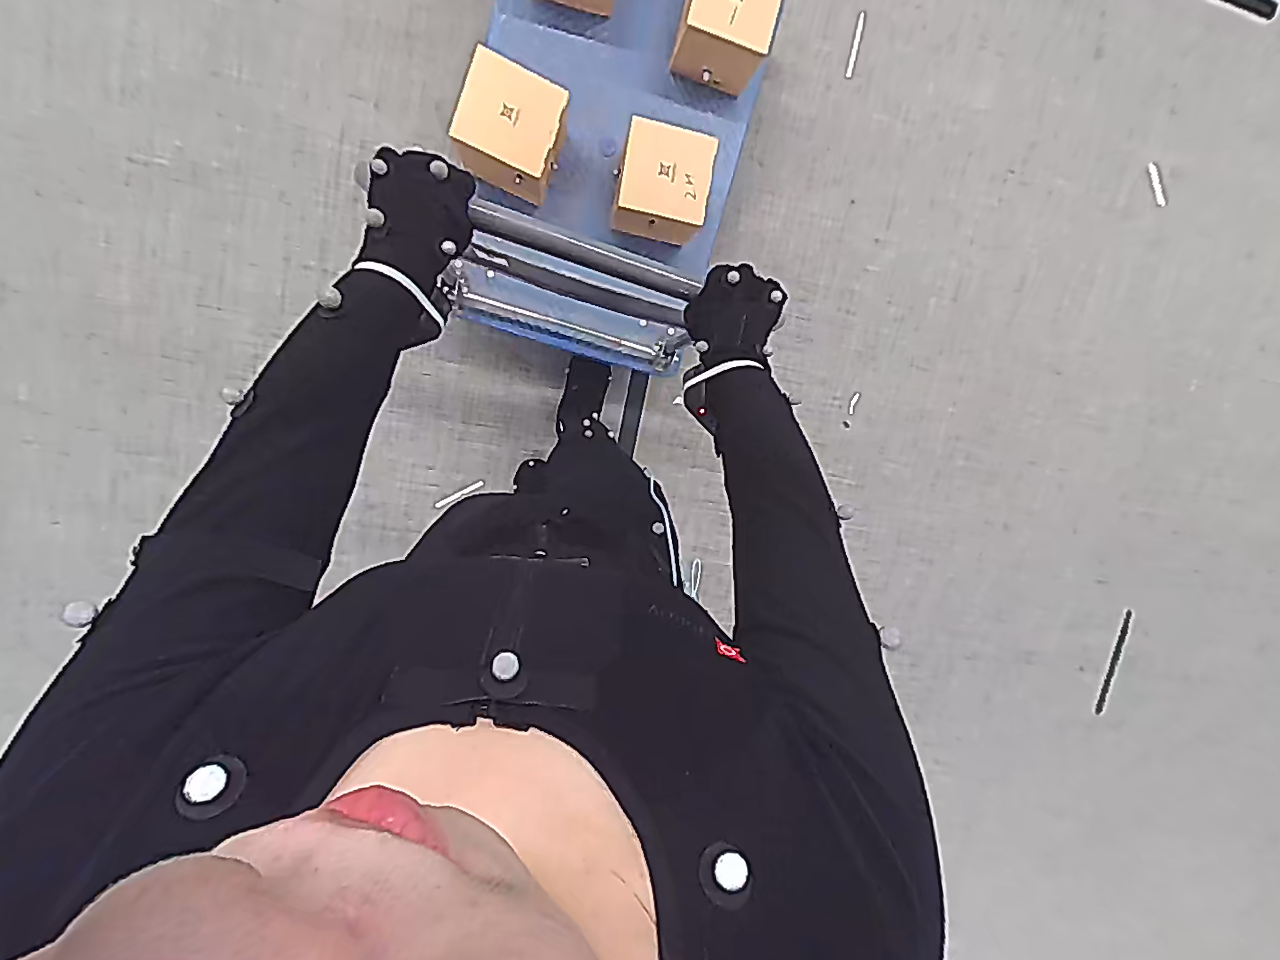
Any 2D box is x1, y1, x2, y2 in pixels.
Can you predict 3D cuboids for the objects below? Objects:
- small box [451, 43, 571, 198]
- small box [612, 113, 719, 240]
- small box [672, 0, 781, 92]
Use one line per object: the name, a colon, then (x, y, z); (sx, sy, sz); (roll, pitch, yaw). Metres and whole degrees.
small box: (-0.249, -0.689, 1.064); (0.179, 0.176, 0.168); (20, 97, -14)
small box: (0.043, -0.617, 1.125); (0.179, 0.176, 0.168); (9, 100, -11)
small box: (0.174, -0.934, 1.084); (0.168, 0.176, 0.179); (13, 100, -11)
